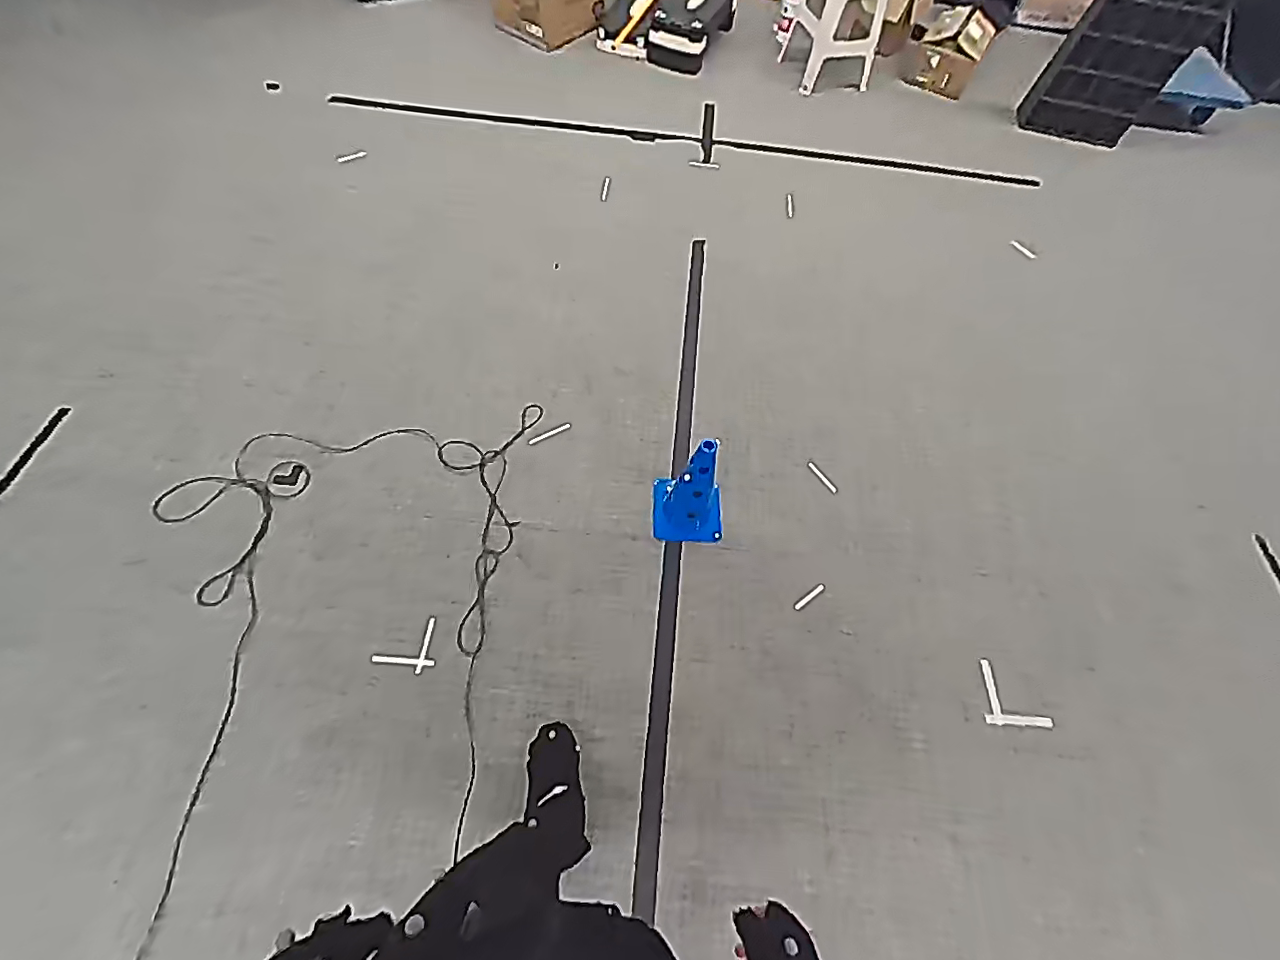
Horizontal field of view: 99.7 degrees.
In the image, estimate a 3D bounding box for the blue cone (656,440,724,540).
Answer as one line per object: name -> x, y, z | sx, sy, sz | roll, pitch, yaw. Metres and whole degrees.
blue cone -> 0.156, 0.008, 1.453 | 0.192, 0.380, 0.193 | 5, 61, -3
